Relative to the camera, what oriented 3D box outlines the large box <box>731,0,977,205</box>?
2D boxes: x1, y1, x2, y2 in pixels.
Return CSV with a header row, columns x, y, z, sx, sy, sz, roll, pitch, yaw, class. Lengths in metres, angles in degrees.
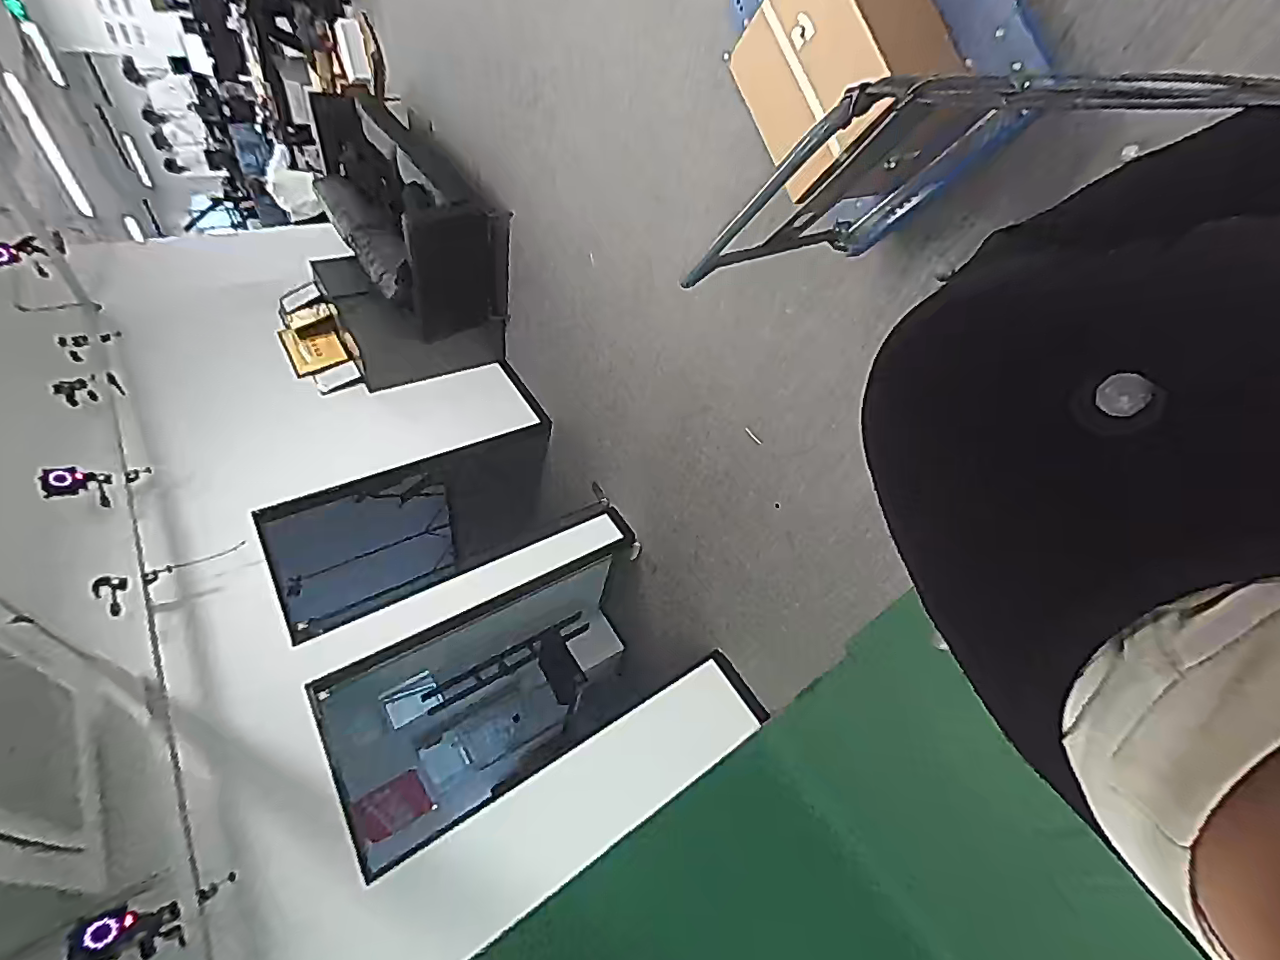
x,y,z,sx,sy,sz,roll,pitch,yaw,class
0.487,-0.926,1.265,0.320,0.320,0.408,-31,81,60,large box
